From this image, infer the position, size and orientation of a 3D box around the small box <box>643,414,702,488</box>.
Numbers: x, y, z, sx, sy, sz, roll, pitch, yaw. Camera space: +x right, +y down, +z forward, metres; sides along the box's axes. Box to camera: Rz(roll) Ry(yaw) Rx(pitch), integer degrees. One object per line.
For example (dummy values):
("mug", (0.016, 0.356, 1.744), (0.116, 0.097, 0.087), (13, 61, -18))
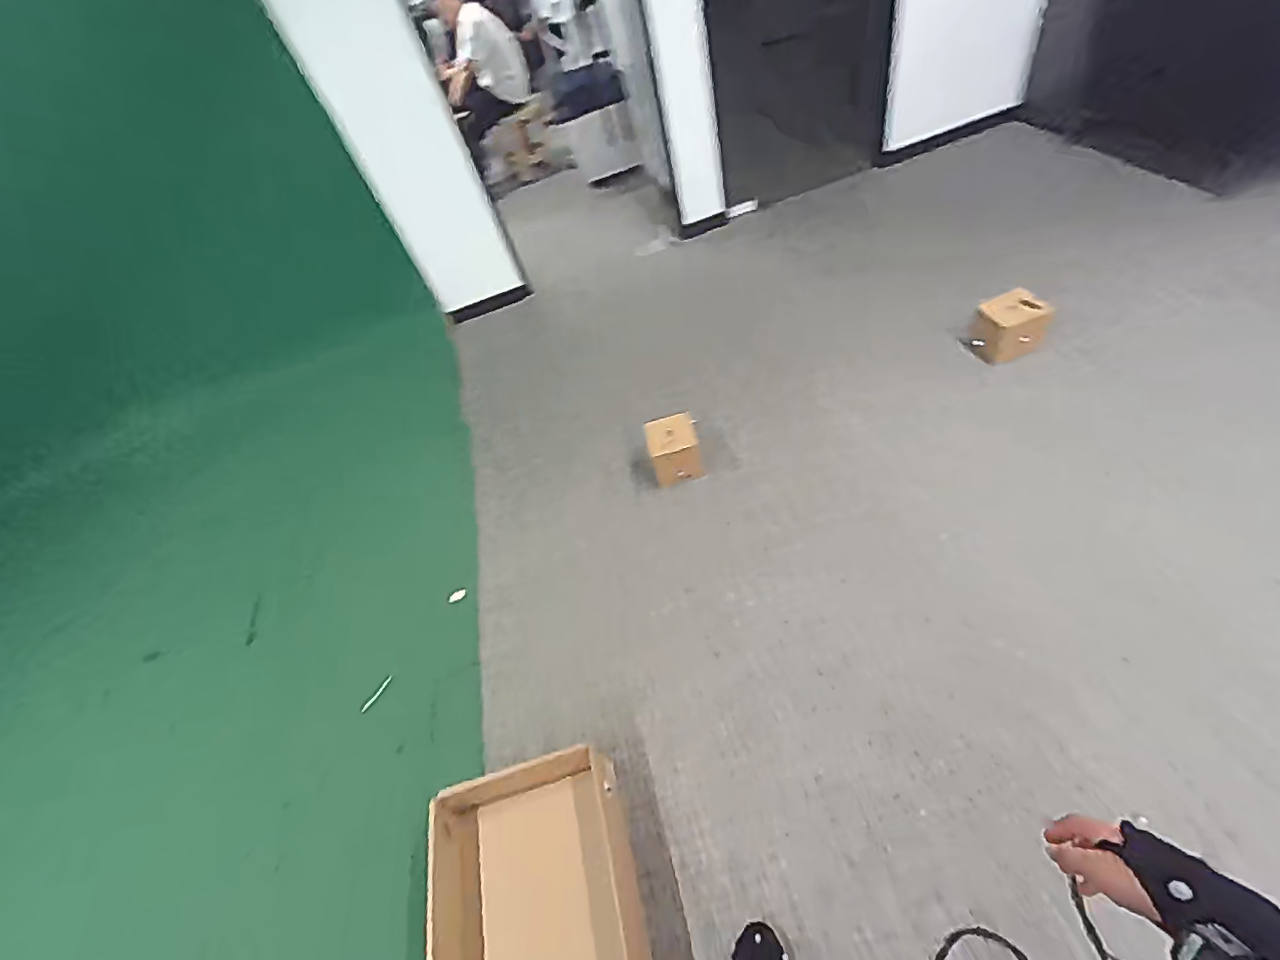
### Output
("small box", (0.118, -0.102, 1.940), (0.168, 0.176, 0.179), (-16, 48, 4))

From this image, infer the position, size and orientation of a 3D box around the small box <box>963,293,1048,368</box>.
("small box", (1.312, -0.538, 1.954), (0.179, 0.176, 0.168), (-19, 48, 1))
